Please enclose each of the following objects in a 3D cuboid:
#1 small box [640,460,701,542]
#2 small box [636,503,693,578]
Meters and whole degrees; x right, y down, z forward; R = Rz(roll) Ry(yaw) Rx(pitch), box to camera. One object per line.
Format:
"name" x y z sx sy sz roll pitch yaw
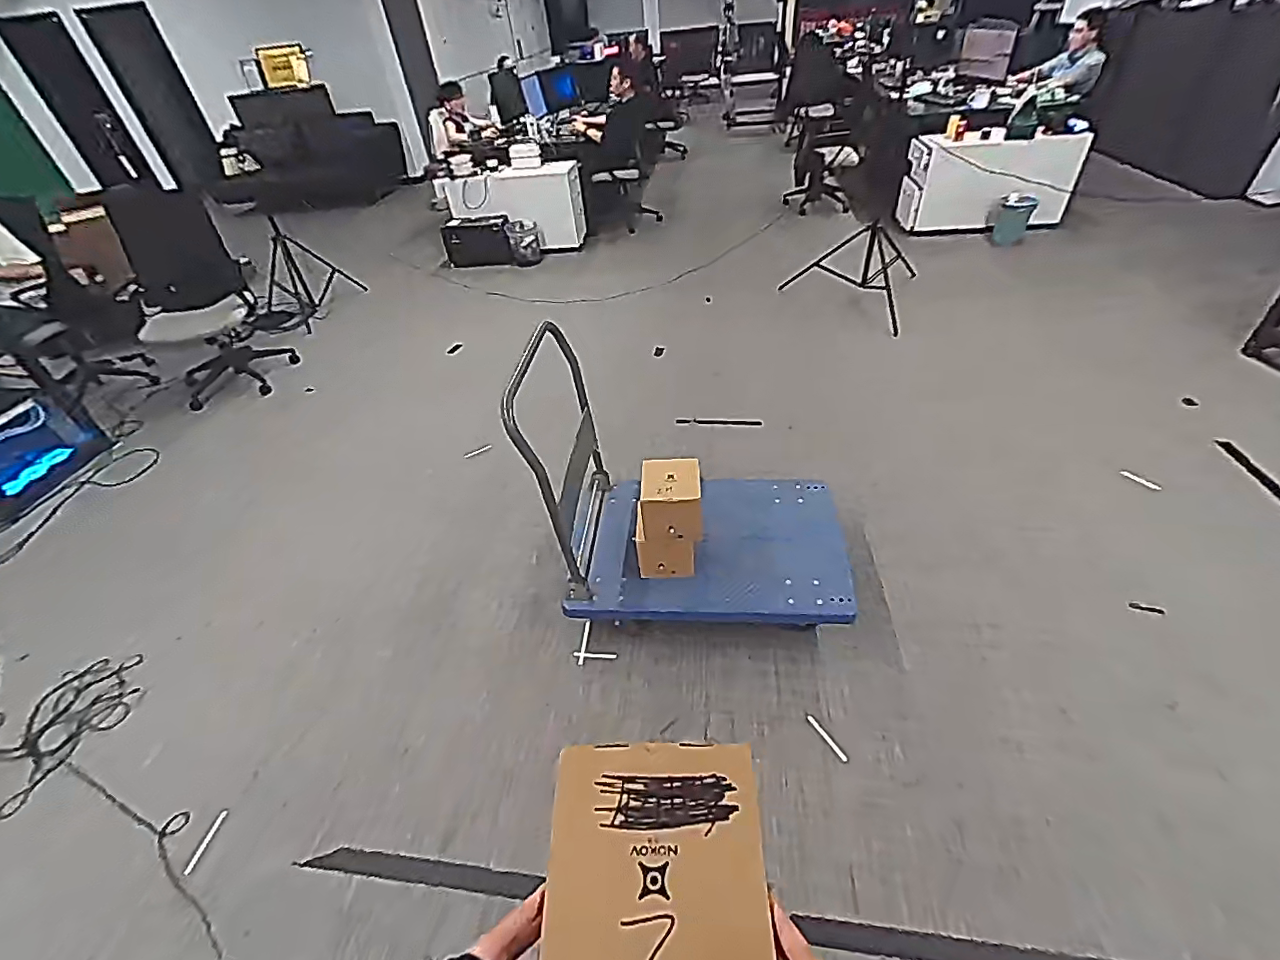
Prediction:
"small box" 0.090 0.062 1.566 0.168 0.176 0.179 -3 42 5
"small box" 0.078 0.185 1.677 0.168 0.176 0.179 -3 42 5
